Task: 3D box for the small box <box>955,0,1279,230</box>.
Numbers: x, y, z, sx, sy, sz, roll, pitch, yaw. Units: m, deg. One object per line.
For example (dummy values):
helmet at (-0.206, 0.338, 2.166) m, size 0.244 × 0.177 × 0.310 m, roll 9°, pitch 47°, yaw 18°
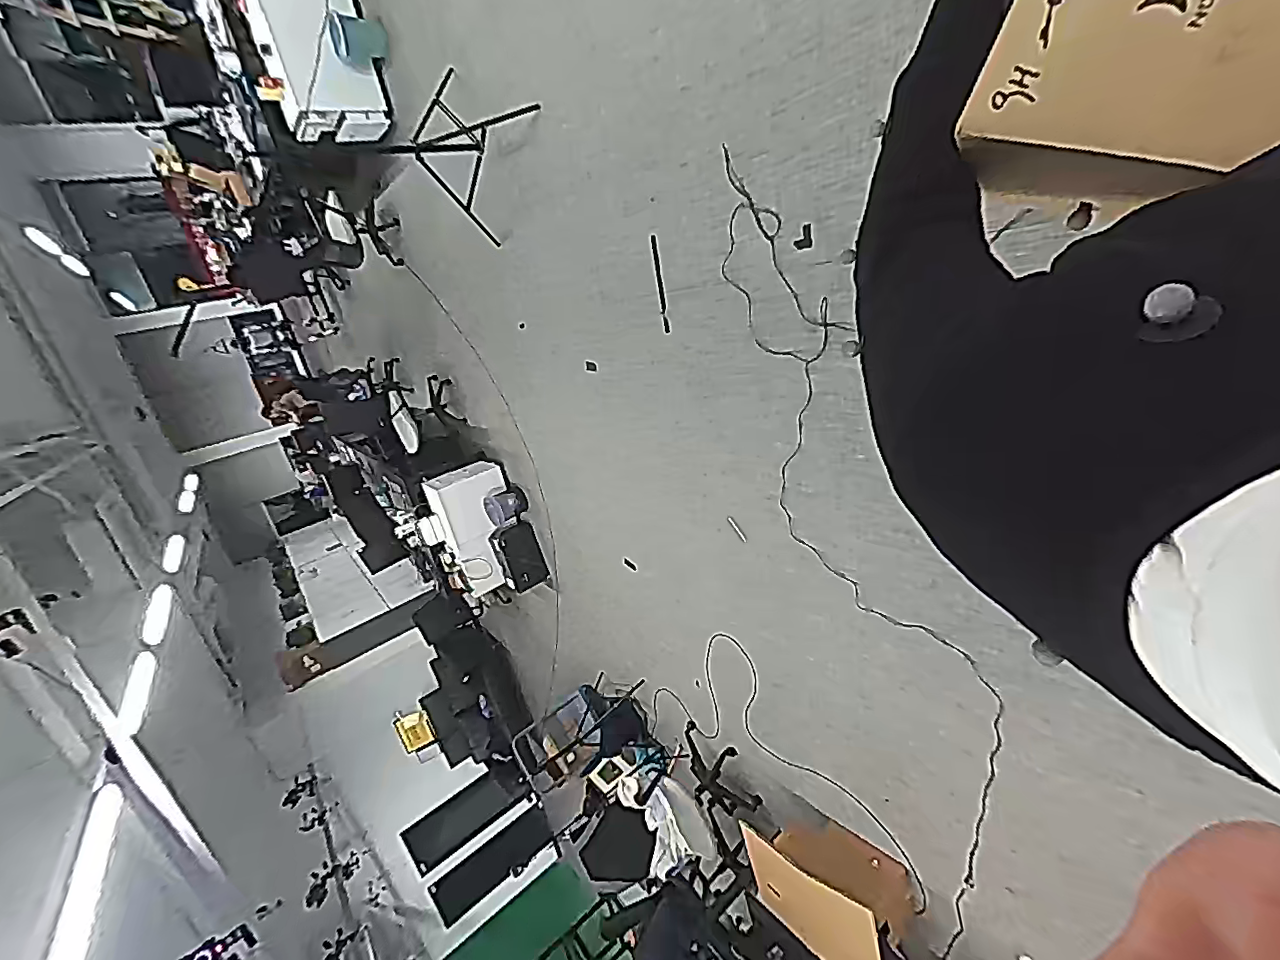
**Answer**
small box at (0.353, -0.285, 0.368) m, size 0.179 × 0.176 × 0.168 m, roll 31°, pitch 115°, yaw 28°
